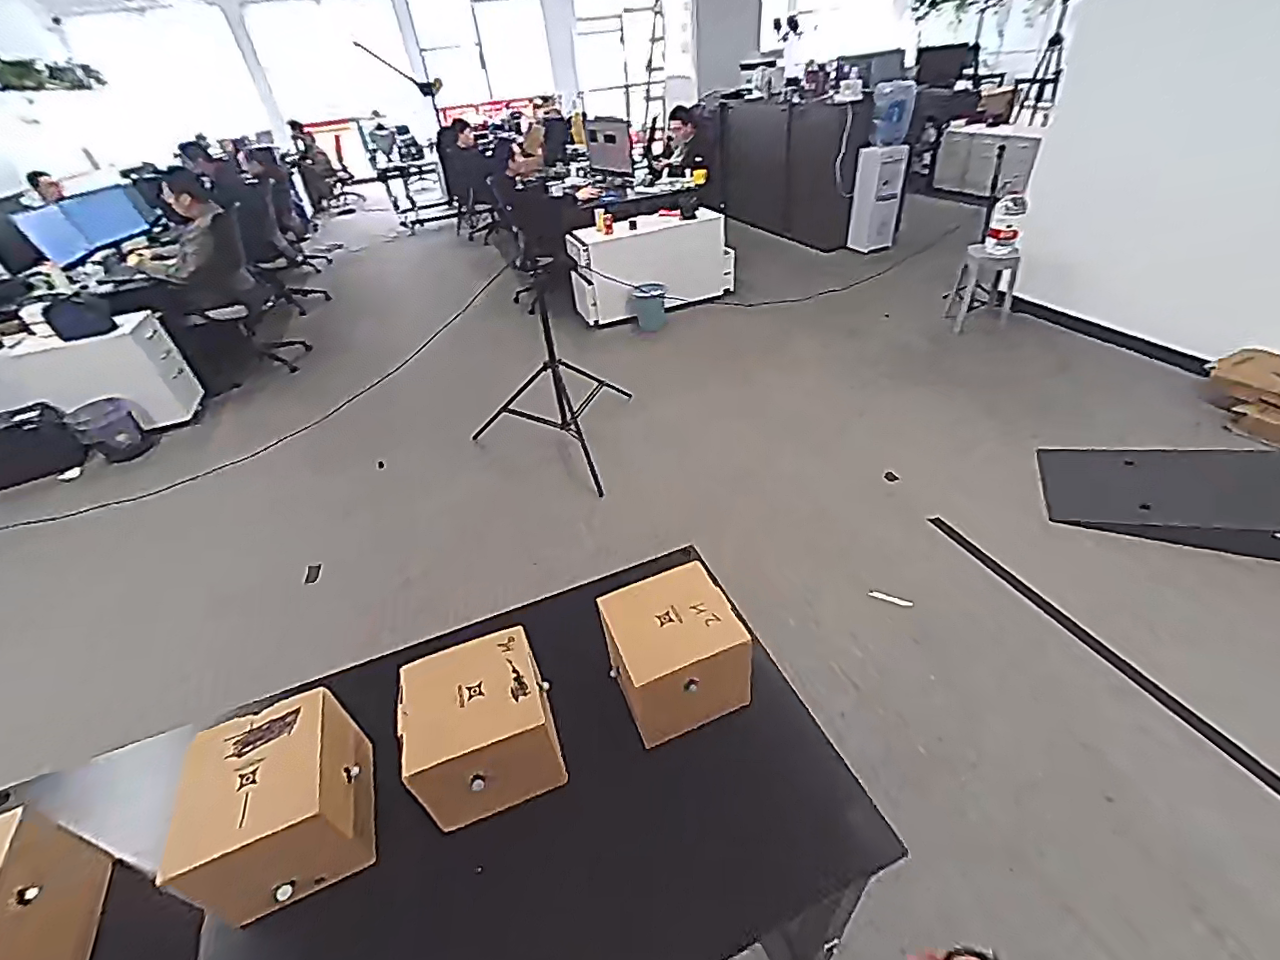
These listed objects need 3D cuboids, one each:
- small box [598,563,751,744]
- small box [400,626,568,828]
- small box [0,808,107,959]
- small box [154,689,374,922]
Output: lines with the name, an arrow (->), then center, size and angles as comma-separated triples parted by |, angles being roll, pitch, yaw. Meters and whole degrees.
small box -> 0.053, 0.261, 0.817 | 0.179, 0.176, 0.168 | -18, 39, -13
small box -> -0.215, 0.343, 0.754 | 0.179, 0.176, 0.168 | -17, 39, -12
small box -> -0.760, 0.520, 0.601 | 0.168, 0.176, 0.179 | -19, 39, -18
small box -> -0.459, 0.414, 0.695 | 0.168, 0.176, 0.179 | -18, 40, -15
